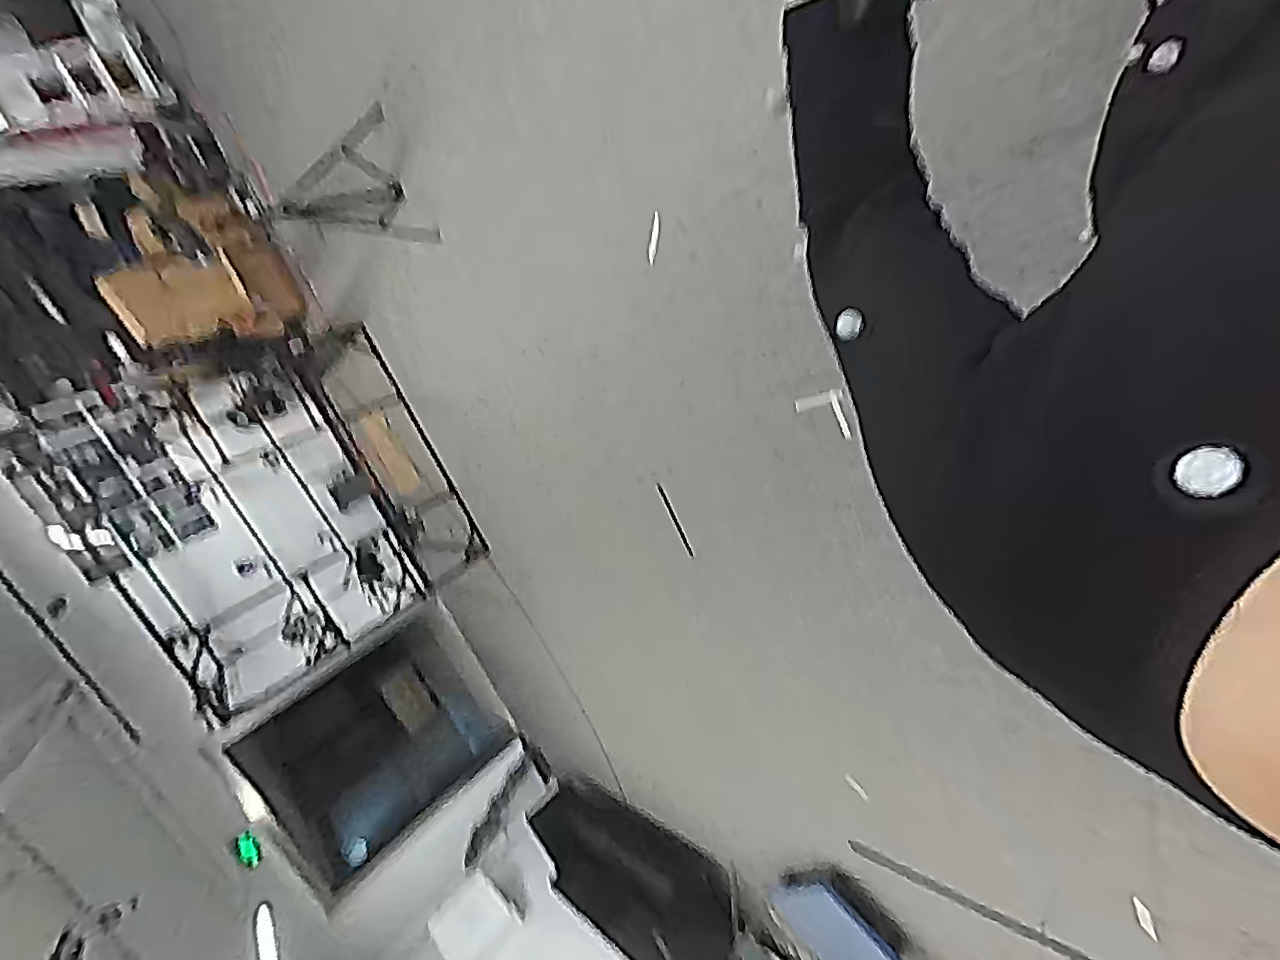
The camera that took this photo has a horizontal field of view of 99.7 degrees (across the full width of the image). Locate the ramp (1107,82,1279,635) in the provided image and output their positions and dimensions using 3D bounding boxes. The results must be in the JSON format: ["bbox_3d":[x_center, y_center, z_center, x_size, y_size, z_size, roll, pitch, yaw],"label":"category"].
[{"bbox_3d":[1.193,-0.175,0.925,0.509,0.206,0.991,-9,111,53],"label":"ramp"}]
